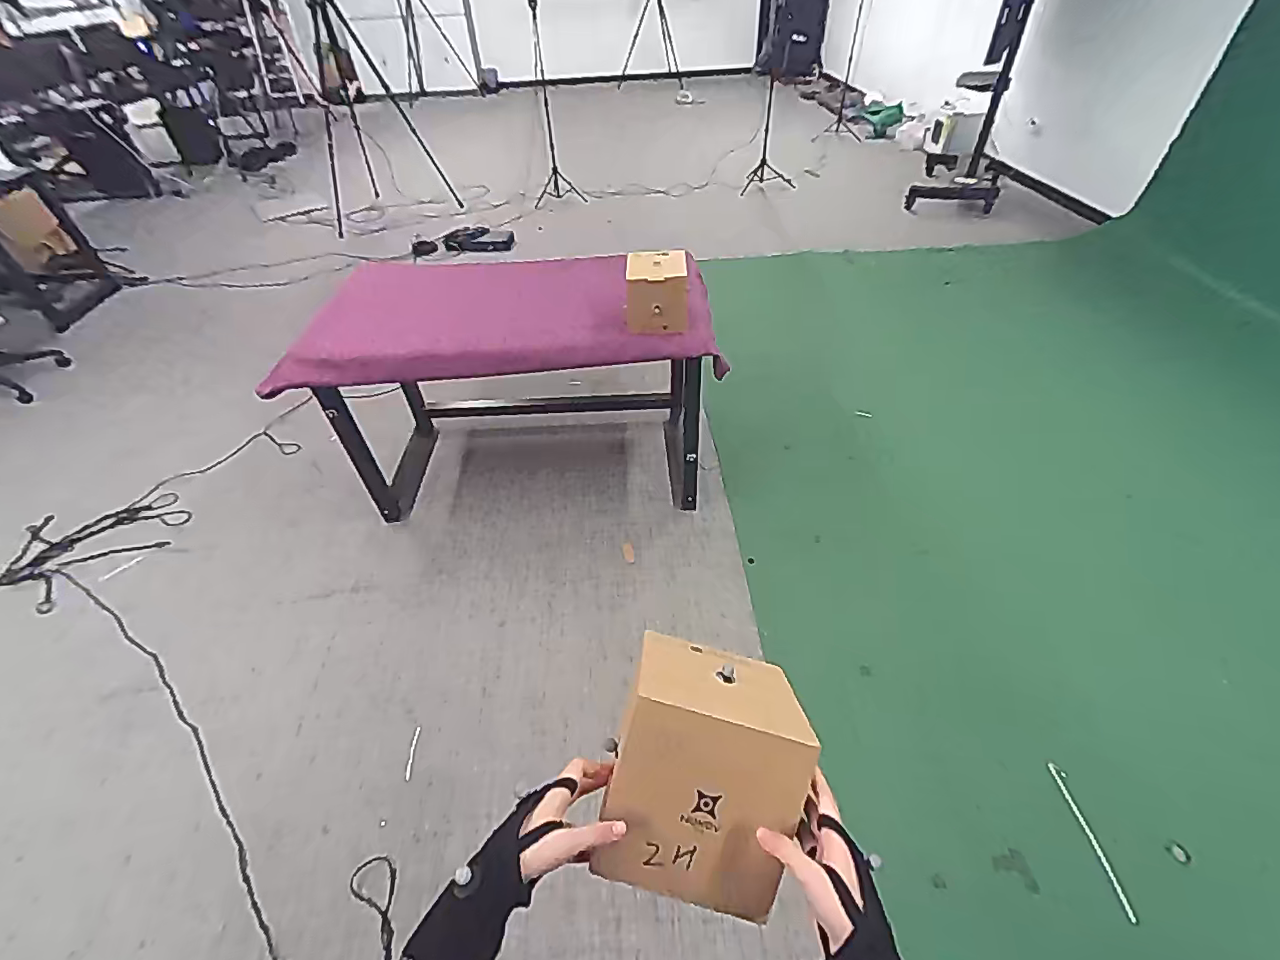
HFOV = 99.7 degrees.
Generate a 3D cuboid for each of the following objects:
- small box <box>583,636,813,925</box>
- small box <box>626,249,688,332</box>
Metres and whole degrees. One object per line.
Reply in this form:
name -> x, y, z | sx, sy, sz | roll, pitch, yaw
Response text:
small box -> 0.052, 0.282, 0.551 | 0.168, 0.179, 0.176 | 16, 5, 2
small box -> 0.053, -0.535, 1.540 | 0.168, 0.176, 0.179 | -1, 46, 4
